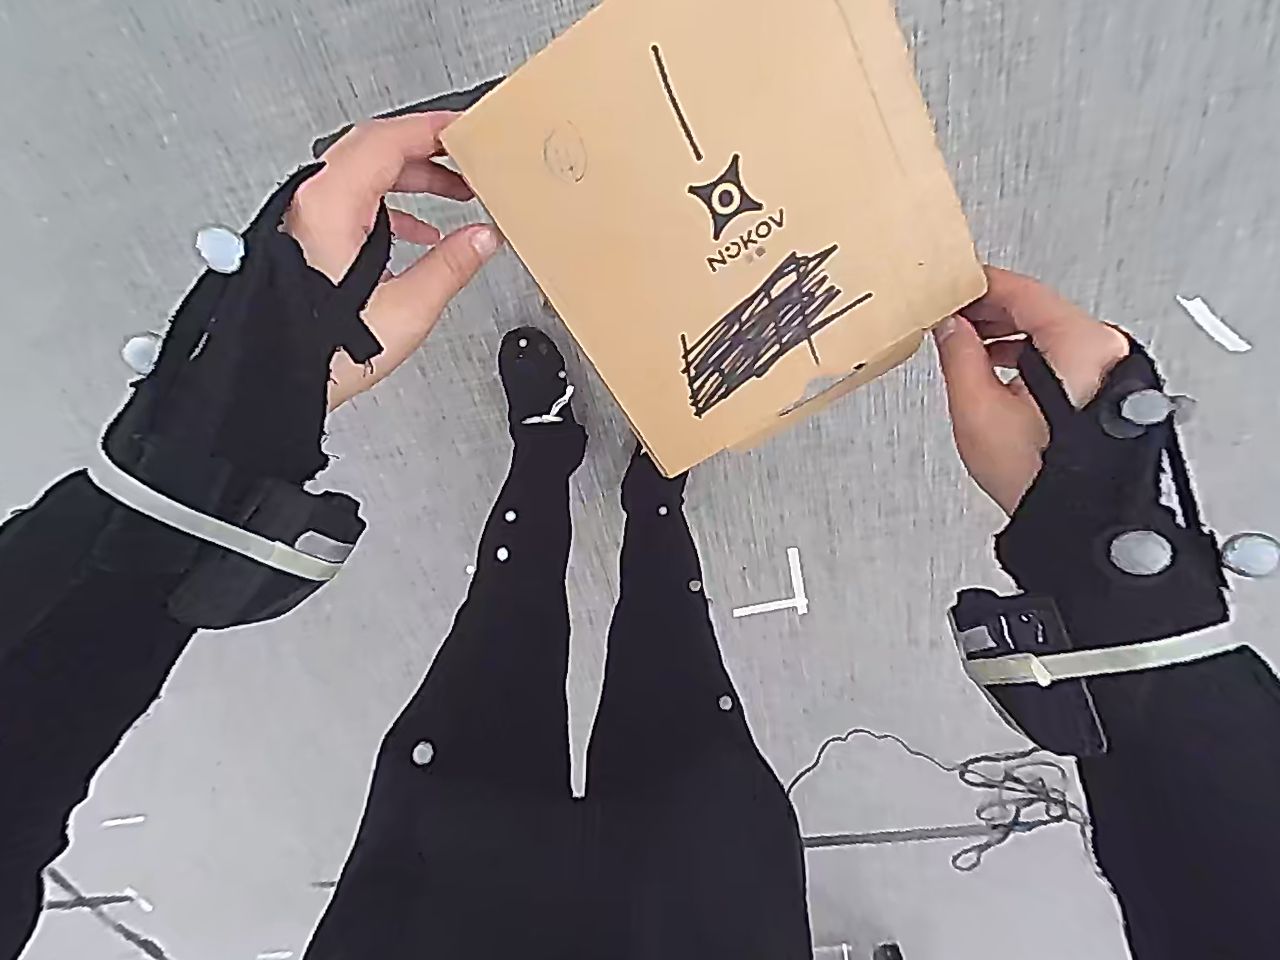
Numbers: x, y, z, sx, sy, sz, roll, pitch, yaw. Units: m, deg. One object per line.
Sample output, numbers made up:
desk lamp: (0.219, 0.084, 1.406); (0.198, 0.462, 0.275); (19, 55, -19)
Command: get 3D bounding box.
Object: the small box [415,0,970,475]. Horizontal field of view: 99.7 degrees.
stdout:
small box: (0.026, -0.139, 0.287); (0.168, 0.176, 0.179); (-31, 112, 10)
